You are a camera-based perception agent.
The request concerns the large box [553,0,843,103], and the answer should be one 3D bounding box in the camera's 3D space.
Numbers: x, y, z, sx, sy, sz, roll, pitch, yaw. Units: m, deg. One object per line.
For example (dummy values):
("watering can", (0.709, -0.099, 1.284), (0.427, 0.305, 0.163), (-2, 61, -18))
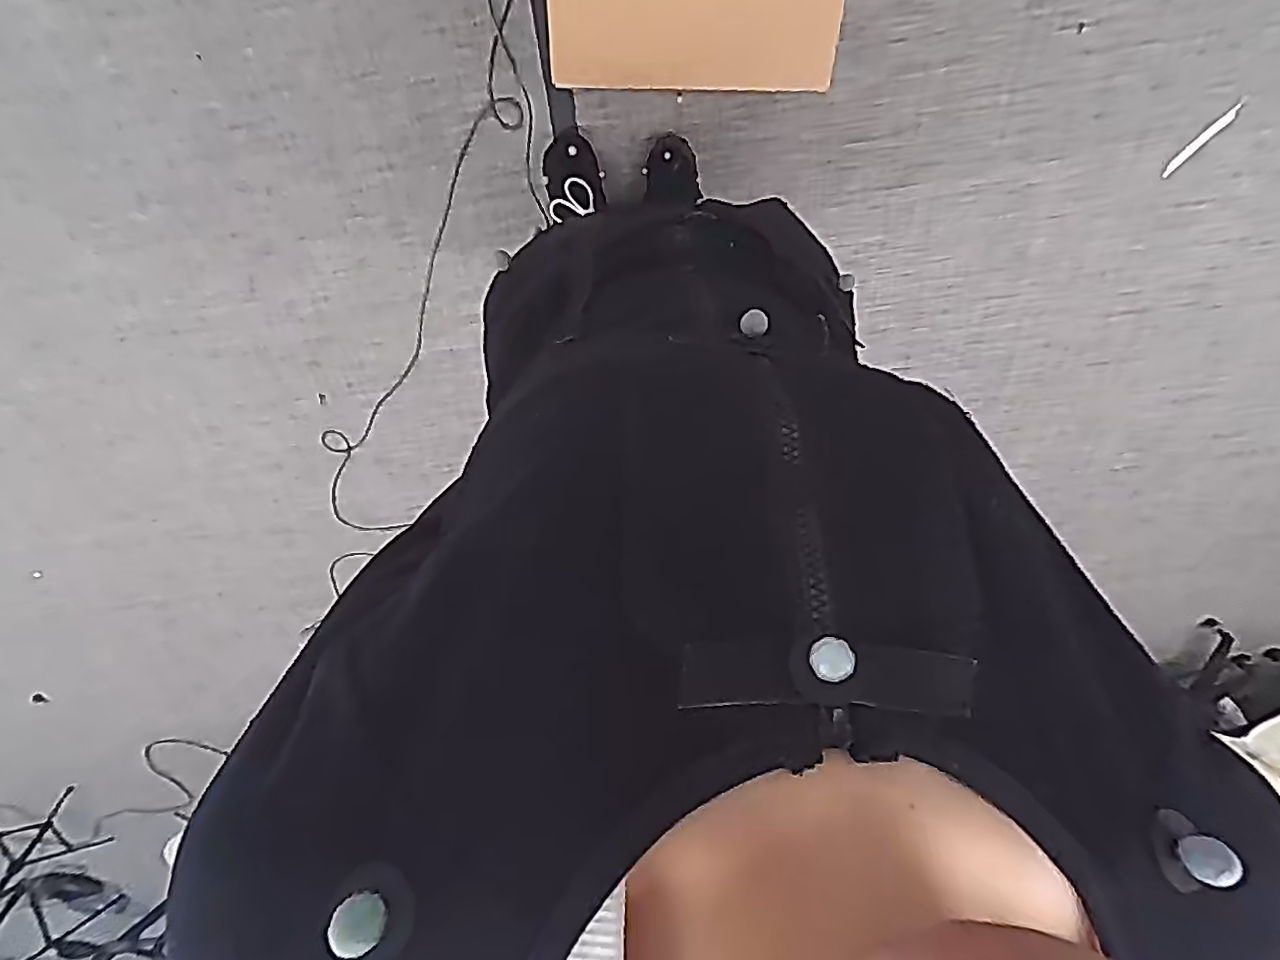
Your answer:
("large box", (0.071, -0.771, 0.827), (0.408, 0.320, 0.320), (-2, 126, -4))
